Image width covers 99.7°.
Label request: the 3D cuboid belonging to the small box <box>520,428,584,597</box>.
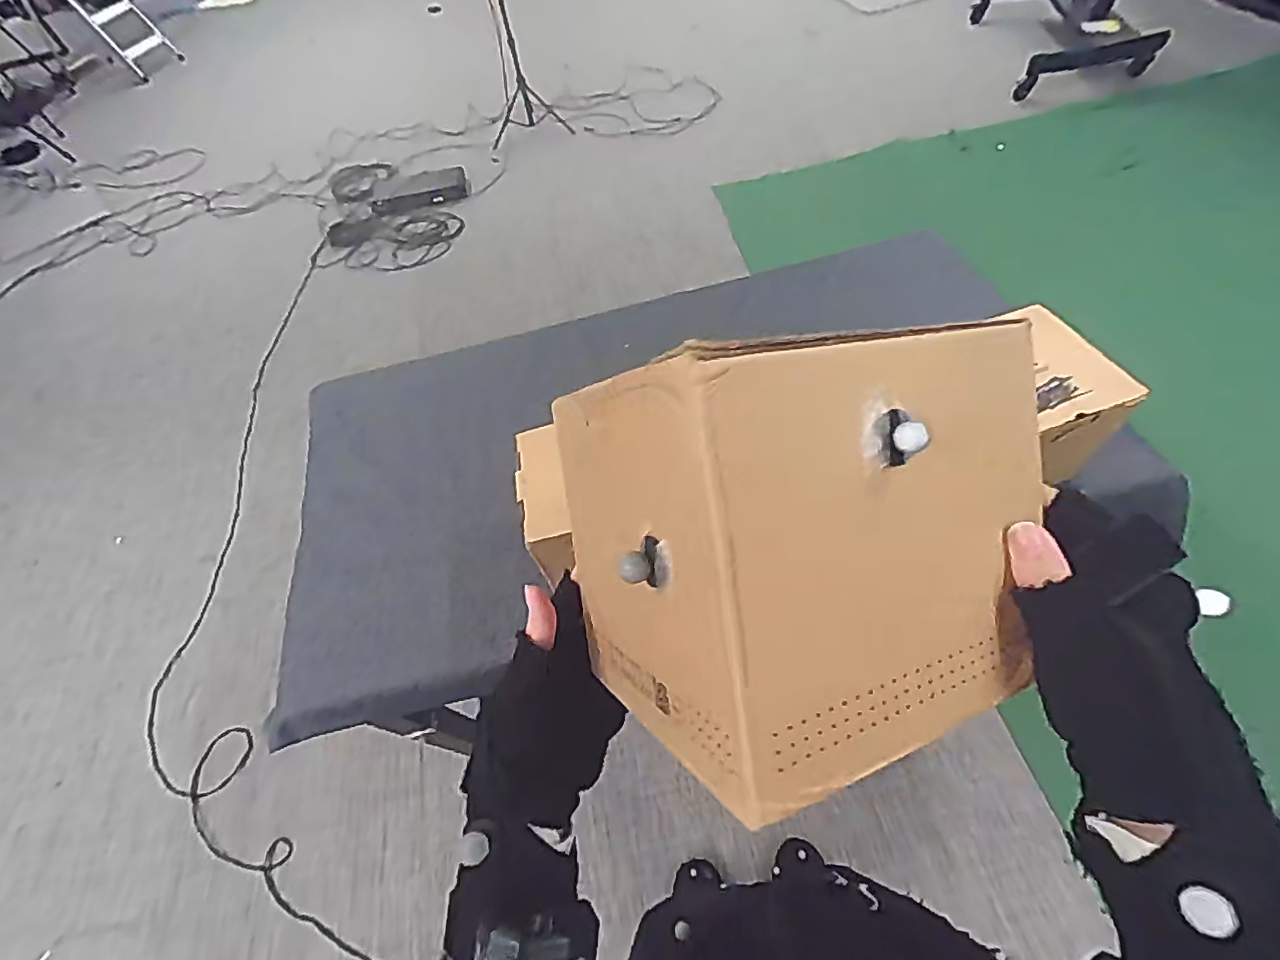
[{"bbox_3d":[-0.046,0.036,0.708,0.179,0.176,0.168,-12,54,-1],"label":"small box"}]

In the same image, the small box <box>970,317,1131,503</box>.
[{"bbox_3d":[0.467,-0.078,0.718,0.168,0.176,0.179,-17,55,-4],"label":"small box"}]

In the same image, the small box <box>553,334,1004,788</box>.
[{"bbox_3d":[0.068,0.026,0.293,0.179,0.168,0.176,-8,95,-26],"label":"small box"}]
